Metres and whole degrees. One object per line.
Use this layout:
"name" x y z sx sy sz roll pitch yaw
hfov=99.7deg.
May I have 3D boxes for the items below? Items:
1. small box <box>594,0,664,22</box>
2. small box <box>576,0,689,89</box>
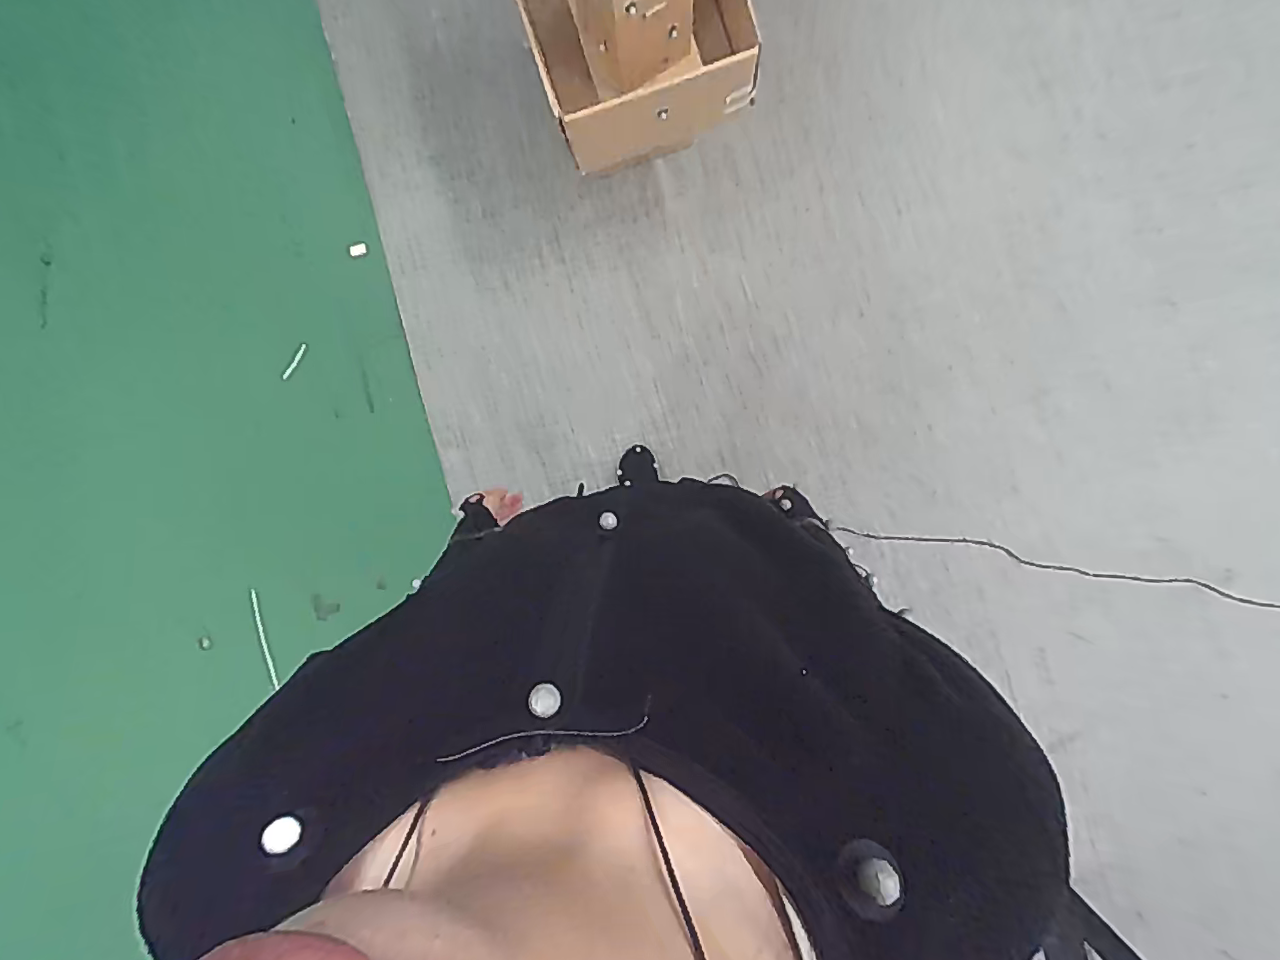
"small box" -0.021 -0.894 0.865 0.168 0.176 0.179 -31 87 2
"small box" -0.014 -0.895 1.029 0.168 0.176 0.179 -31 88 2
